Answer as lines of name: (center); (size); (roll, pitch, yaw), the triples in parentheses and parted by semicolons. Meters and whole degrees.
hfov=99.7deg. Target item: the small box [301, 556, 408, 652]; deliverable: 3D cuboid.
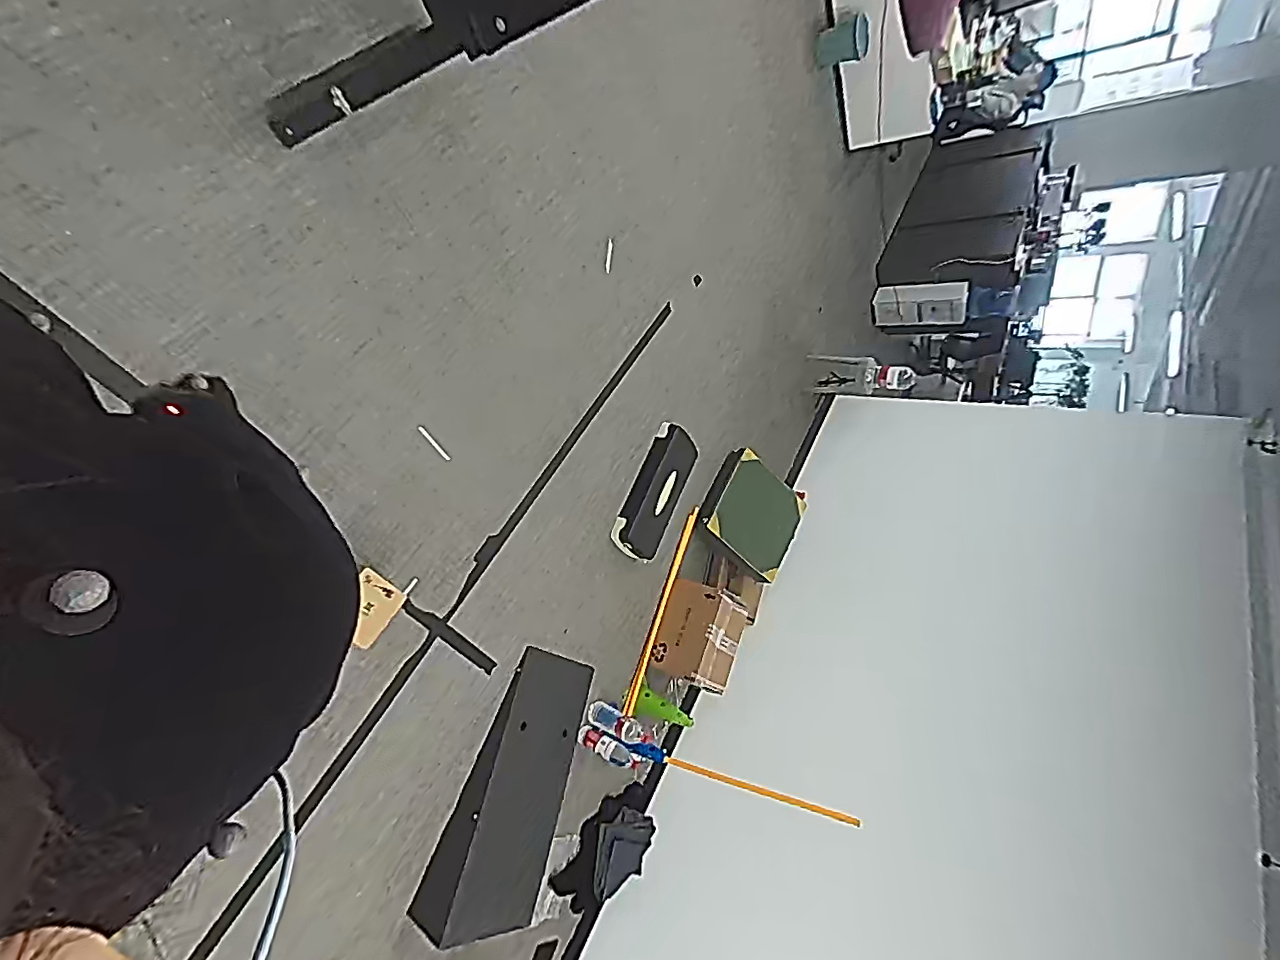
small box: (-0.788, 0.335, 1.481); (0.179, 0.176, 0.168); (-57, 138, -26)
